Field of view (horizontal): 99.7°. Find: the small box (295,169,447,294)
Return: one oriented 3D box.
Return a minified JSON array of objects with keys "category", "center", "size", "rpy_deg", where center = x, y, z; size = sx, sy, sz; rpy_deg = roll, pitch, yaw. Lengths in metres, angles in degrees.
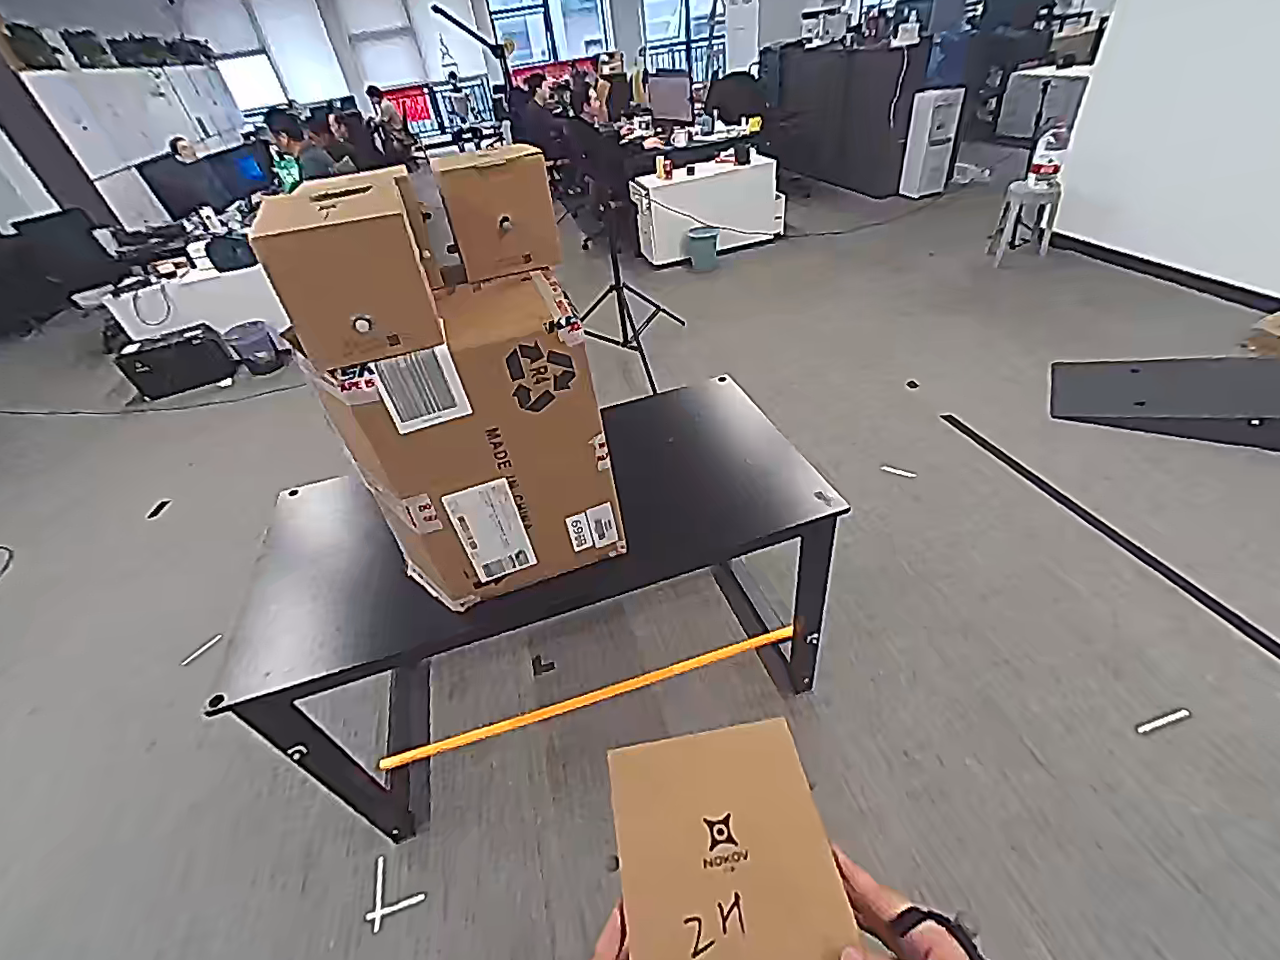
[{"category":"small box","center":[-0.434,-0.400,0.895],"size":[0.168,0.176,0.179],"rpy_deg":[-20,39,-13]}]

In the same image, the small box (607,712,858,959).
[{"category":"small box","center":[0.067,0.341,0.487],"size":[0.168,0.176,0.179],"rpy_deg":[-10,44,-3]}]

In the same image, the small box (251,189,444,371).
[{"category":"small box","center":[-0.373,-0.268,0.719],"size":[0.168,0.176,0.179],"rpy_deg":[-18,42,-13]}]

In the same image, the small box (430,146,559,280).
[{"category":"small box","center":[-0.246,-0.456,0.929],"size":[0.168,0.176,0.179],"rpy_deg":[-17,40,-13]}]
